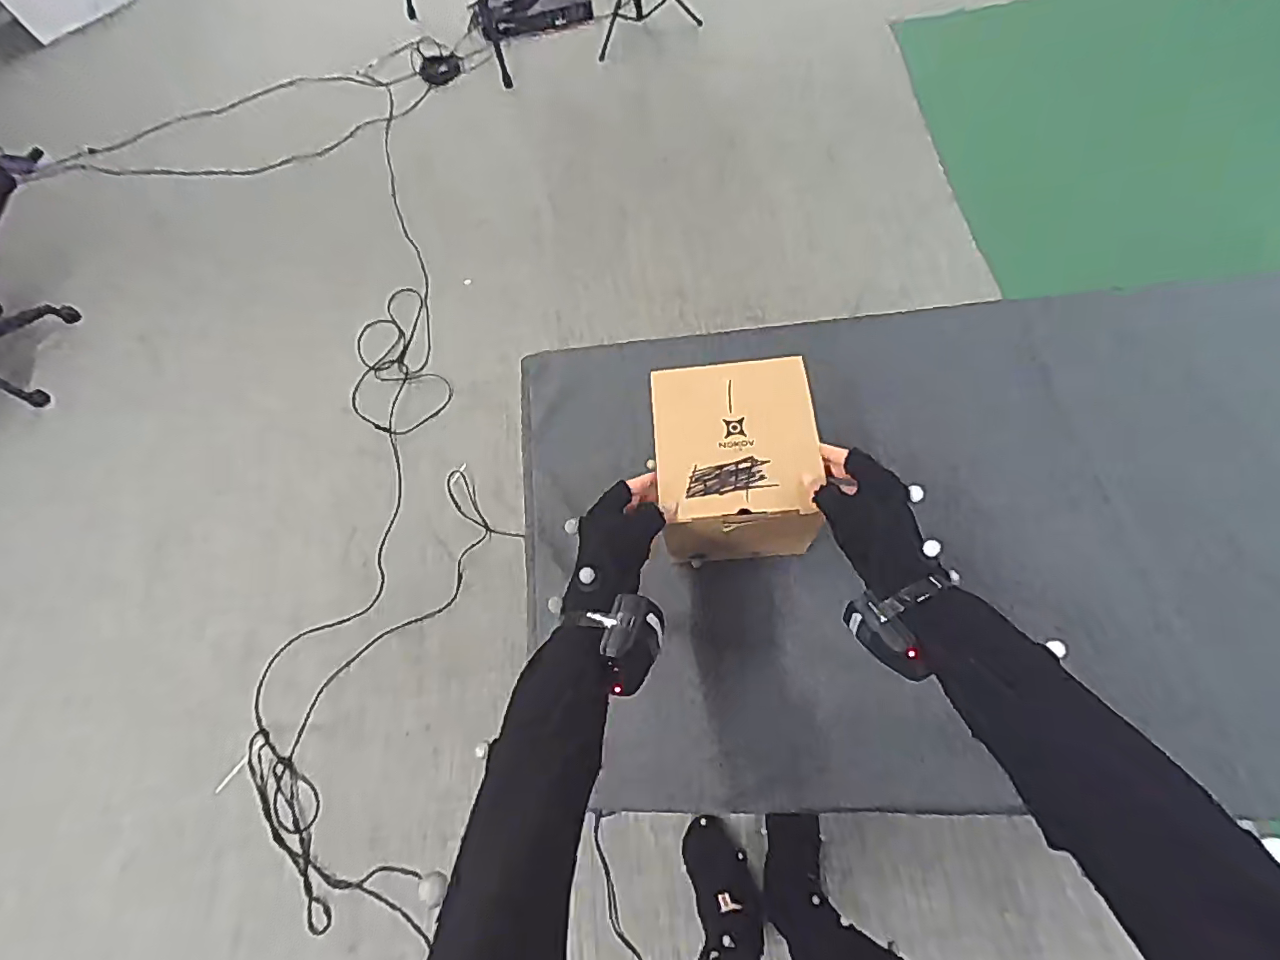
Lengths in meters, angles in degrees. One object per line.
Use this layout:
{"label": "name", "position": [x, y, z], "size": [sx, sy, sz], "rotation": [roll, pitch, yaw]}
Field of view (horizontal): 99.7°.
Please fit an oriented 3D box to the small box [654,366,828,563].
{"label": "small box", "position": [0.109, -0.006, 0.629], "size": [0.168, 0.176, 0.179], "rotation": [-5, 66, 5]}
